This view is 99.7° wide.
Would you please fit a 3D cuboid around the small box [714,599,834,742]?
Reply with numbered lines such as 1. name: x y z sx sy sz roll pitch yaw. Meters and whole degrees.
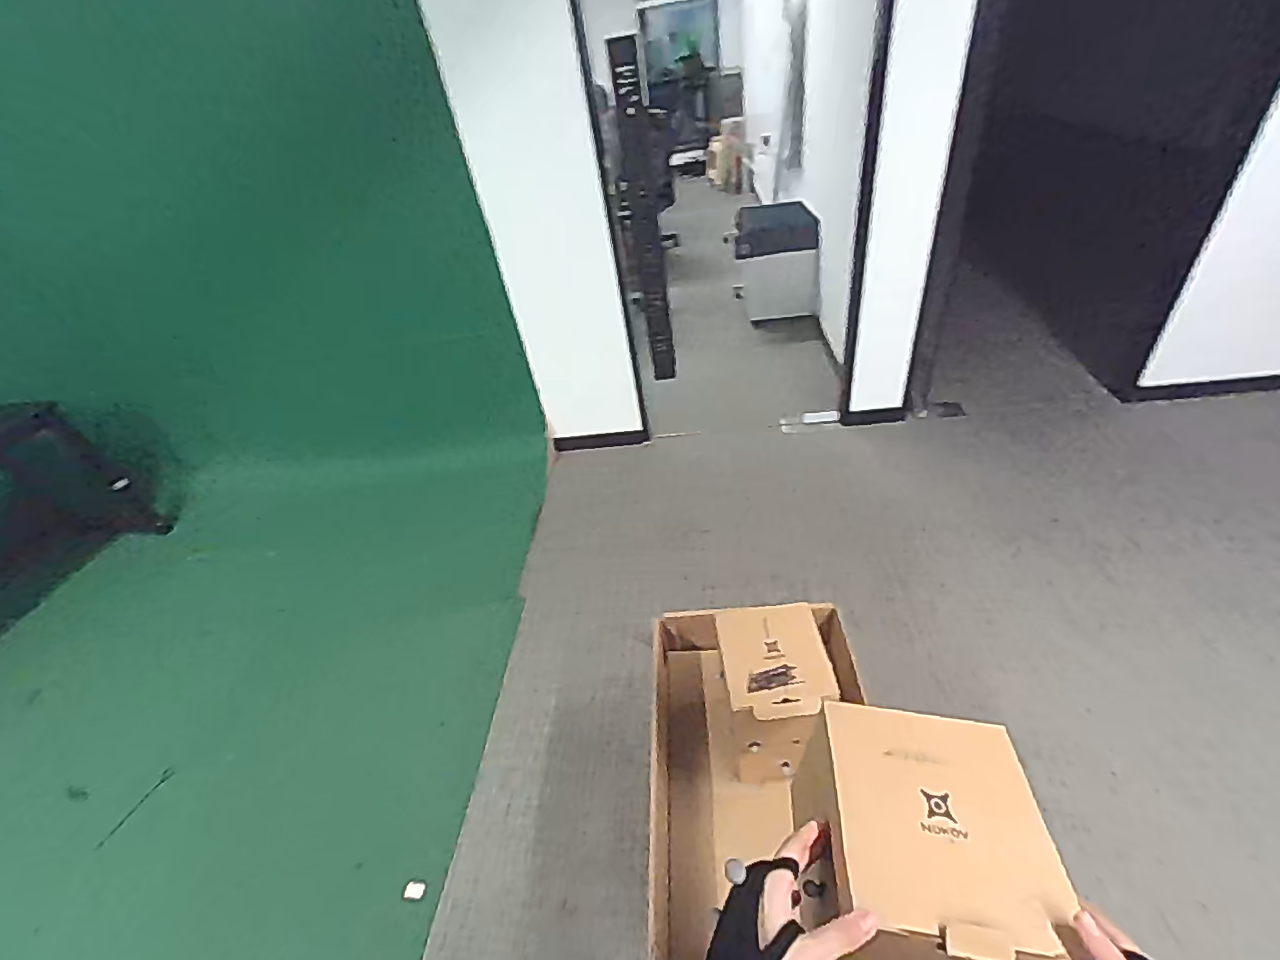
1. small box: 0.225 0.334 0.937 0.168 0.176 0.179 -8 41 3
